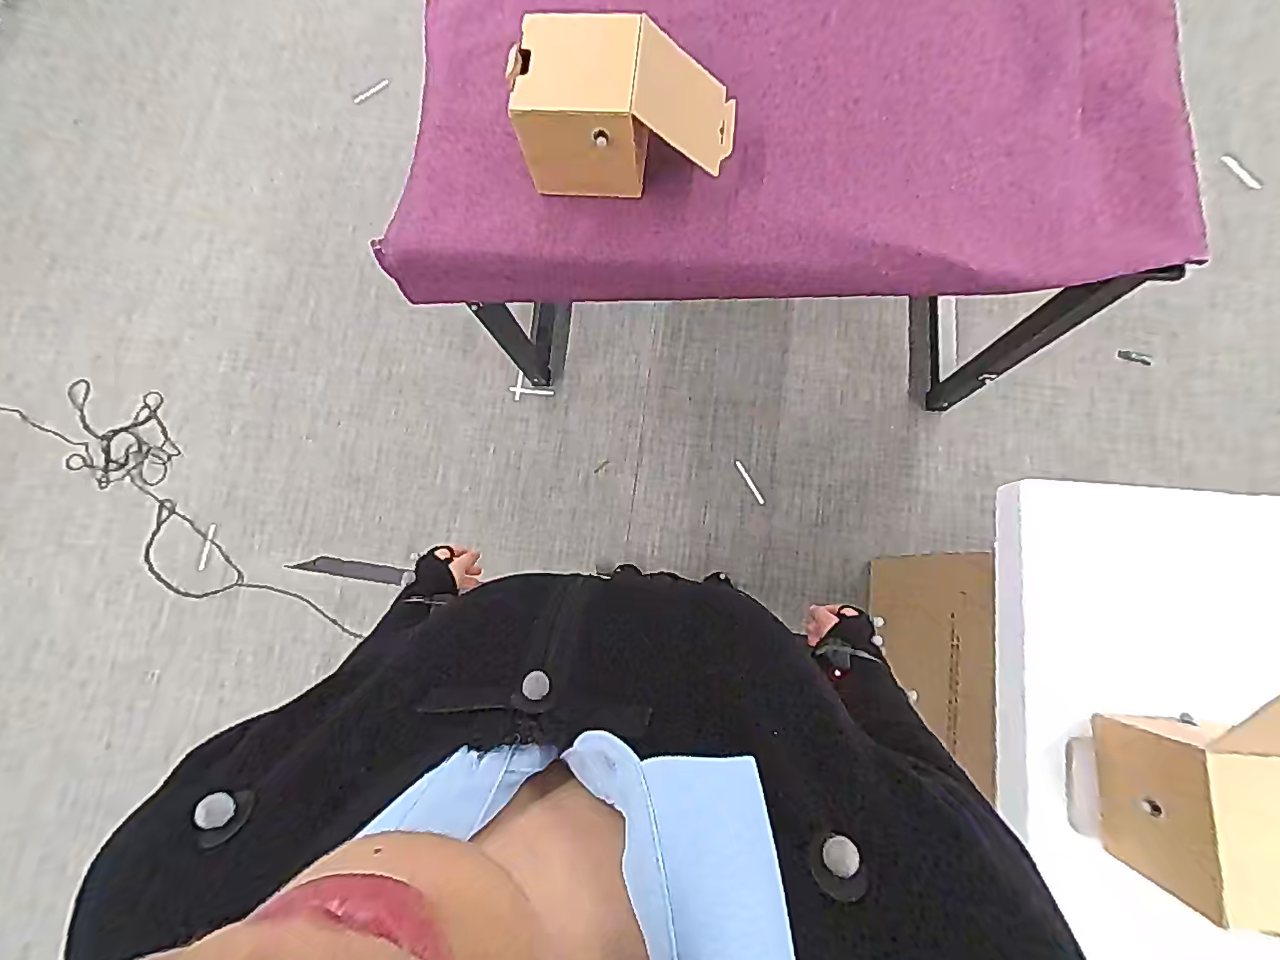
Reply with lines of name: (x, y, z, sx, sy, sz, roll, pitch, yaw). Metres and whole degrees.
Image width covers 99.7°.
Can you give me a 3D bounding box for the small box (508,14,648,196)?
small box: (-0.083, -0.567, 0.835, 0.179, 0.176, 0.168, 5, 79, 6)
